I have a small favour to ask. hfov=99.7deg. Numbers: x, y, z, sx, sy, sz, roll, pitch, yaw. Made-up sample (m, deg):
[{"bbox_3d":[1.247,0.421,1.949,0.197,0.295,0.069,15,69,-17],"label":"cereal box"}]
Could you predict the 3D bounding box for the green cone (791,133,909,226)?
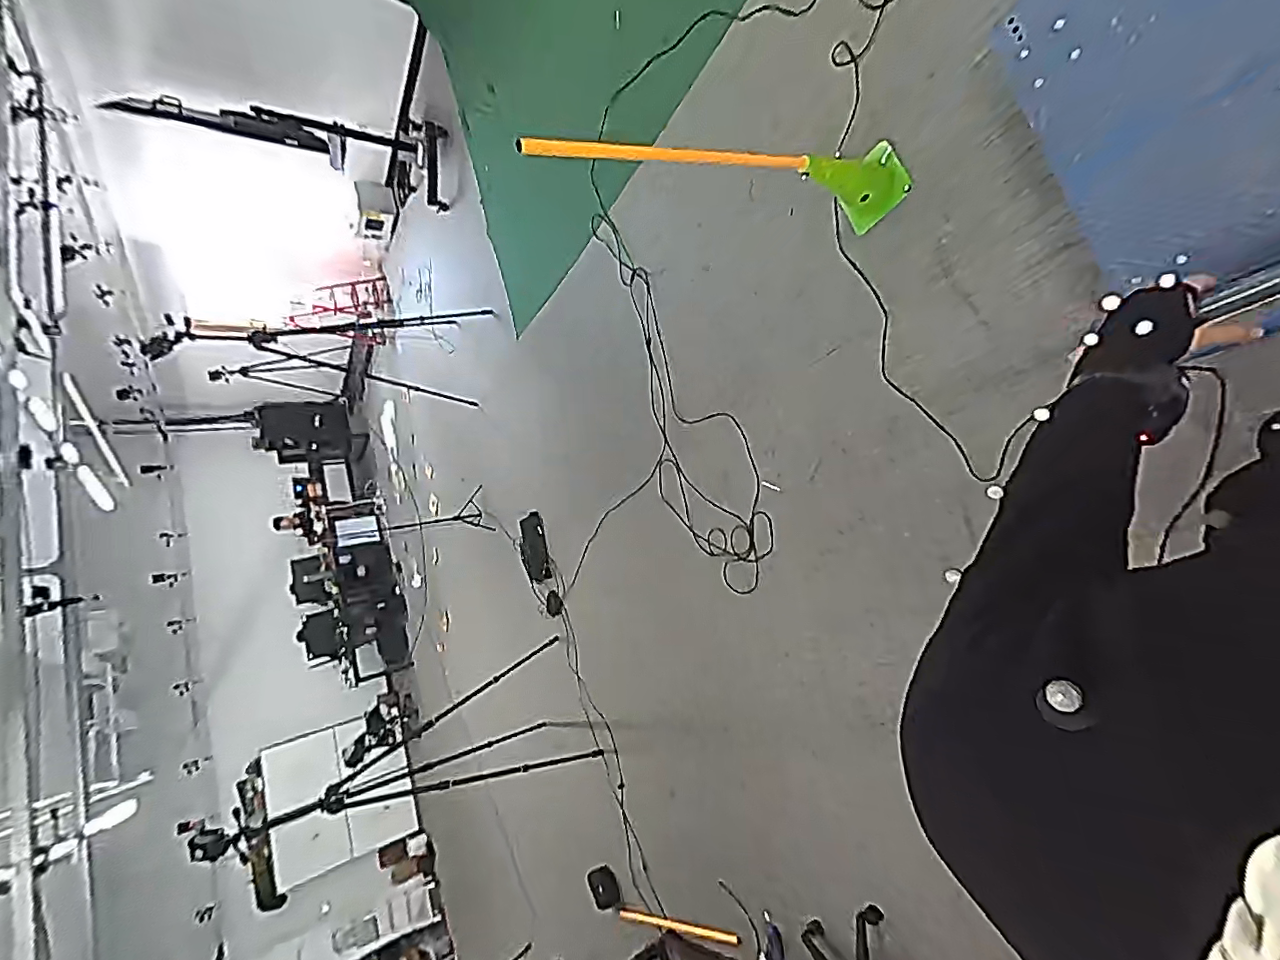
[{"bbox_3d":[0.579,-0.911,1.587,0.202,0.368,0.200,-40,65,51],"label":"green cone"}]
